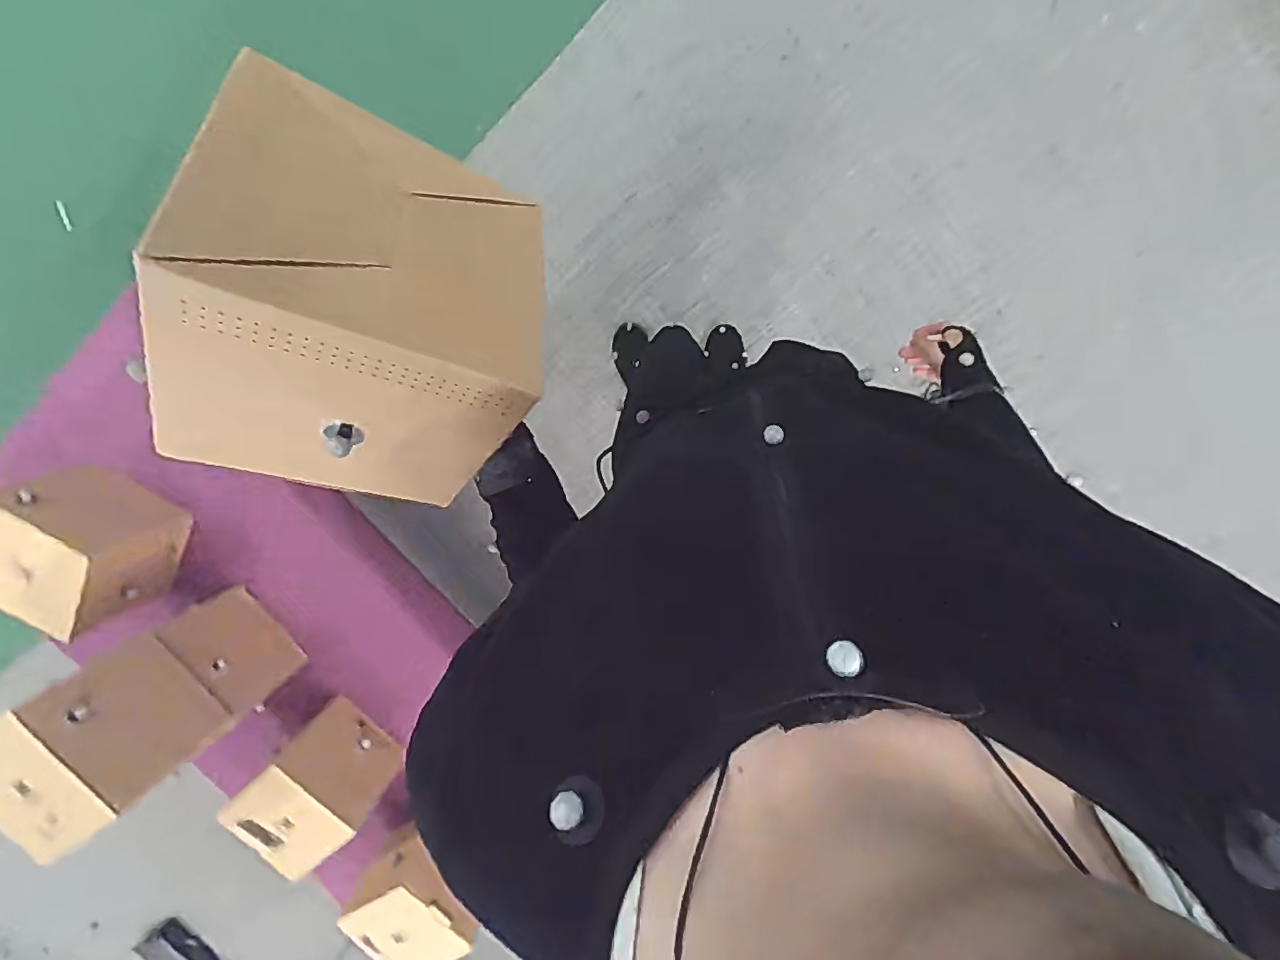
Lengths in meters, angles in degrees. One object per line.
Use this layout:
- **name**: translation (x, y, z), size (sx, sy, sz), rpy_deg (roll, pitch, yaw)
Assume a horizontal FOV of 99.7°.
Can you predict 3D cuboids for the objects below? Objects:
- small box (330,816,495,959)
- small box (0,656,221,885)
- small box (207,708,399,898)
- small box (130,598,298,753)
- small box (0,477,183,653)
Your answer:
- **small box**: translation (-0.374, 0.731, 0.934), size (0.179, 0.176, 0.168), rpy_deg (-36, 99, 13)
- **small box**: translation (-0.711, 0.356, 0.696), size (0.168, 0.176, 0.179), rpy_deg (-33, 100, 13)
- **small box**: translation (-0.542, 0.525, 0.895), size (0.179, 0.176, 0.168), rpy_deg (-42, 98, 14)
- **small box**: translation (-0.698, 0.321, 0.857), size (0.168, 0.176, 0.179), rpy_deg (-34, 99, 13)
- **small box**: translation (-0.852, 0.117, 0.816), size (0.179, 0.176, 0.168), rpy_deg (30, 107, -3)
